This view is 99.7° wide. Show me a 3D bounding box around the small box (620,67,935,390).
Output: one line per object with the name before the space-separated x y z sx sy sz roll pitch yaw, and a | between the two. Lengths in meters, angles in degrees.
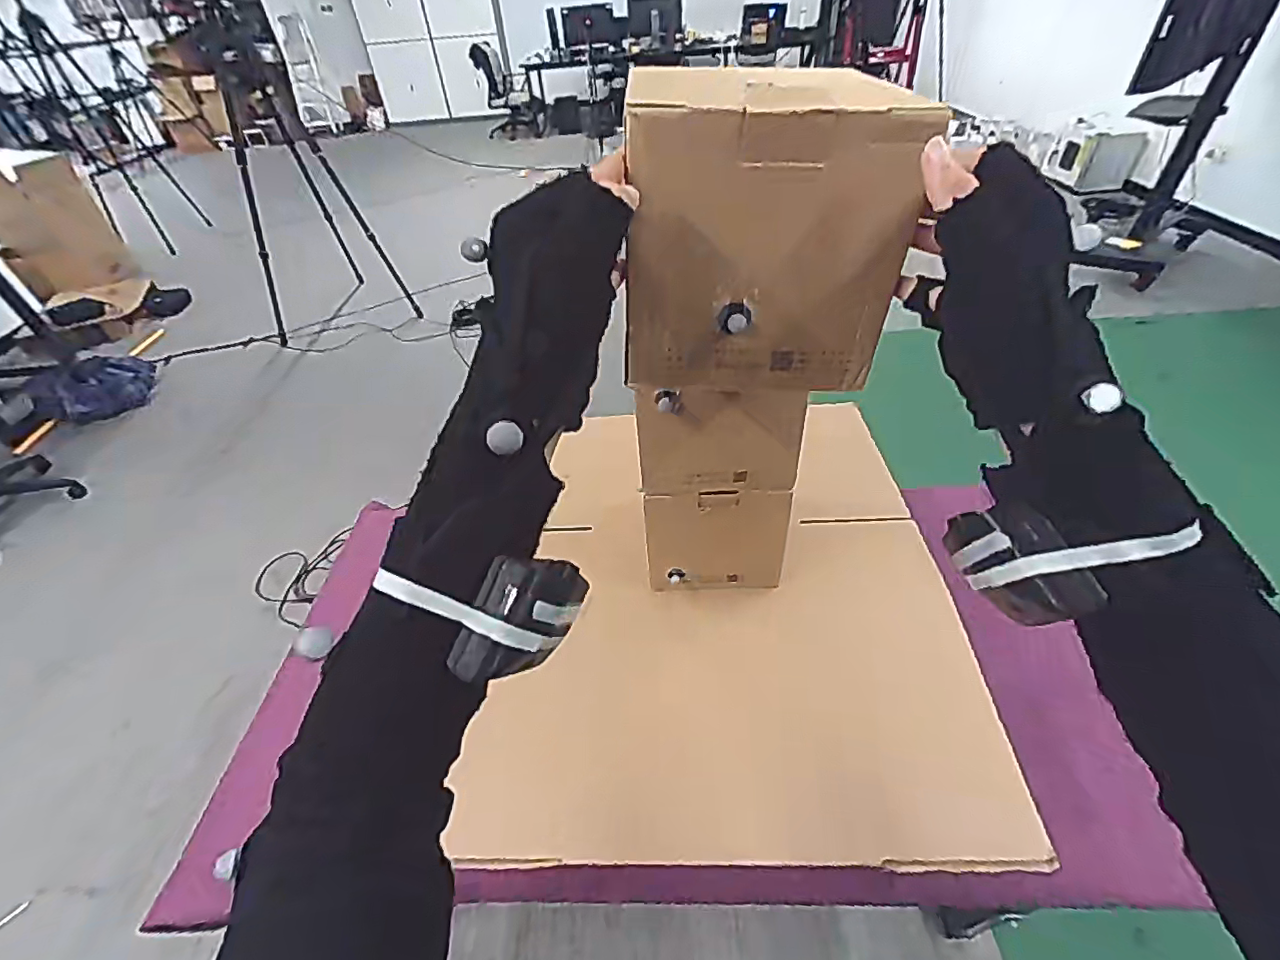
small box | 0.071 -0.185 0.394 0.168 0.176 0.179 0 43 -1

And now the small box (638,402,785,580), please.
small box | 0.087 0.018 0.708 0.168 0.176 0.179 -2 41 3
